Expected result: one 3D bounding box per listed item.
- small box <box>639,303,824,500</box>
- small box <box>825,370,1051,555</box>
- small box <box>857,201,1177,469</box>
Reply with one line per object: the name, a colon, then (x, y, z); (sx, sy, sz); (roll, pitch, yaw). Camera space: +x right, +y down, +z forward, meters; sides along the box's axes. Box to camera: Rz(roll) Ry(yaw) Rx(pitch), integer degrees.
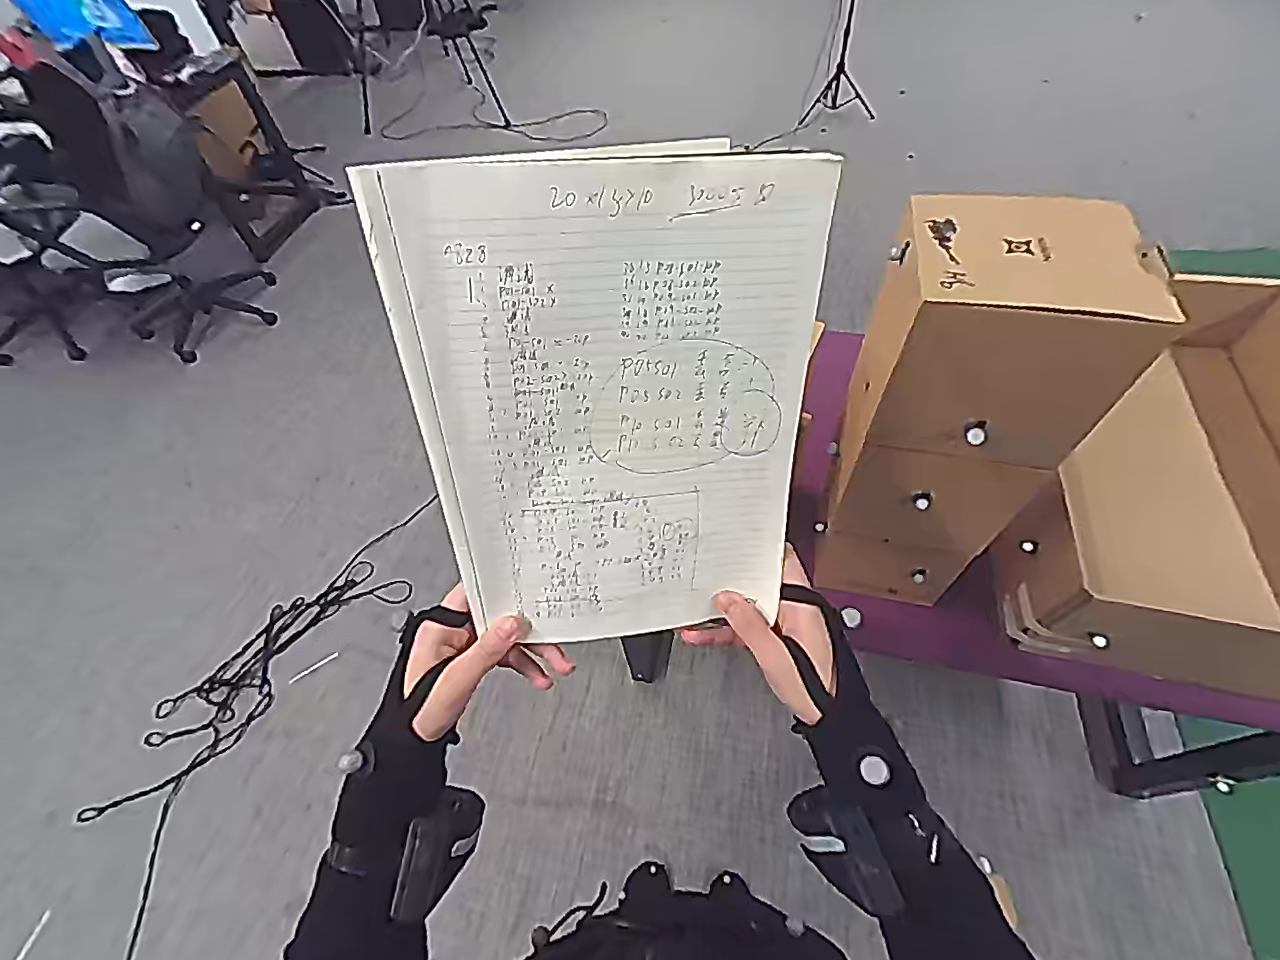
small box: (0.117, -0.097, 0.705); (0.179, 0.176, 0.168); (19, 58, 19)
small box: (0.329, -0.030, 0.633); (0.179, 0.176, 0.168); (9, 54, 12)
small box: (0.317, -0.130, 0.502); (0.179, 0.176, 0.168); (10, 53, 11)
